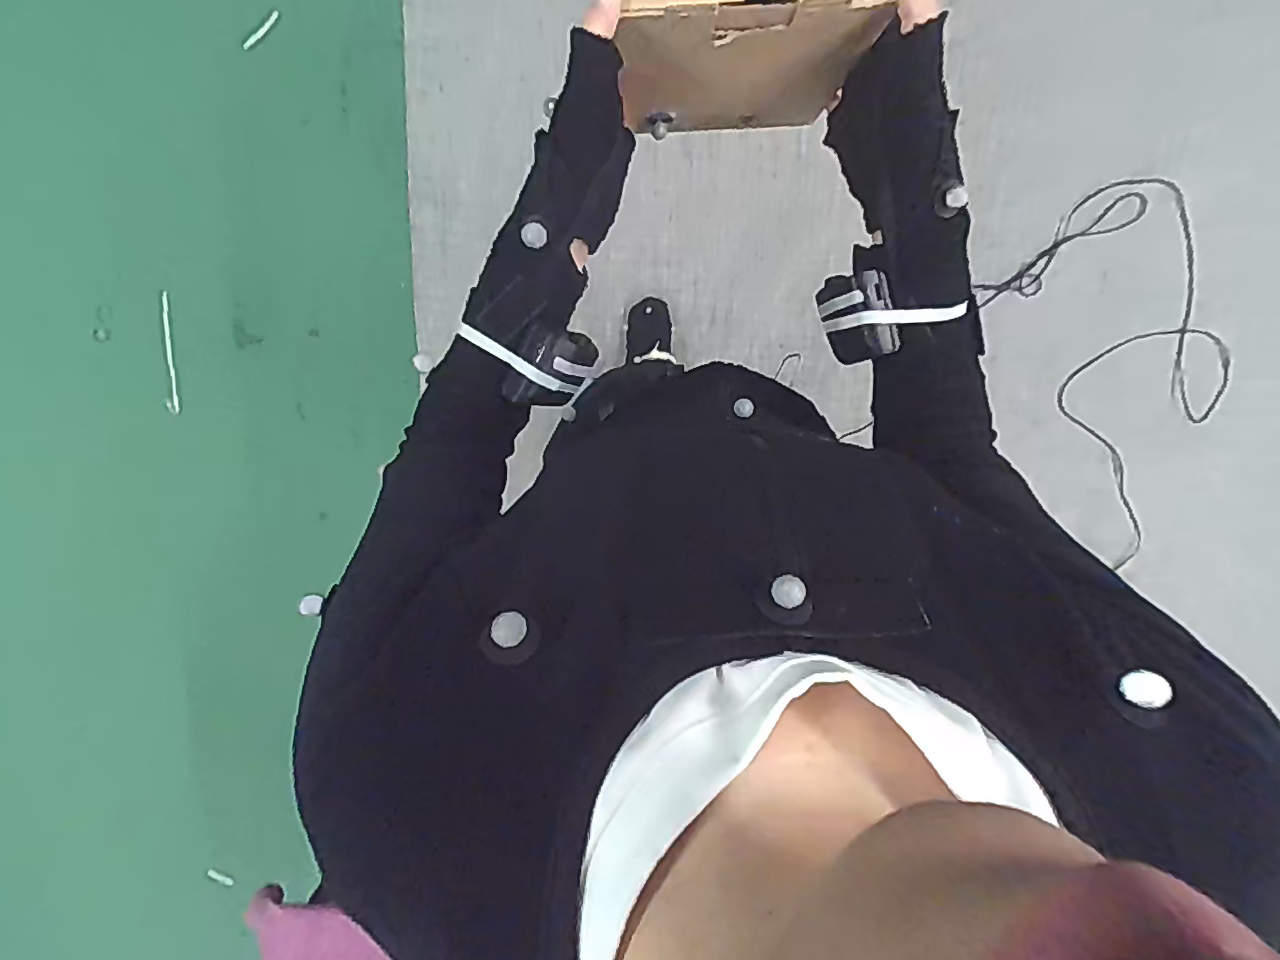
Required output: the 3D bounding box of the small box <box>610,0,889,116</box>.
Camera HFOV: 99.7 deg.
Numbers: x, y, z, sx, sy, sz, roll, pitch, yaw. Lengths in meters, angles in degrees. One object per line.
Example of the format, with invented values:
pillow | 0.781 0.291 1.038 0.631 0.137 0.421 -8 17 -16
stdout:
small box | 0.063 -0.365 0.354 0.168 0.176 0.179 -2 102 0
